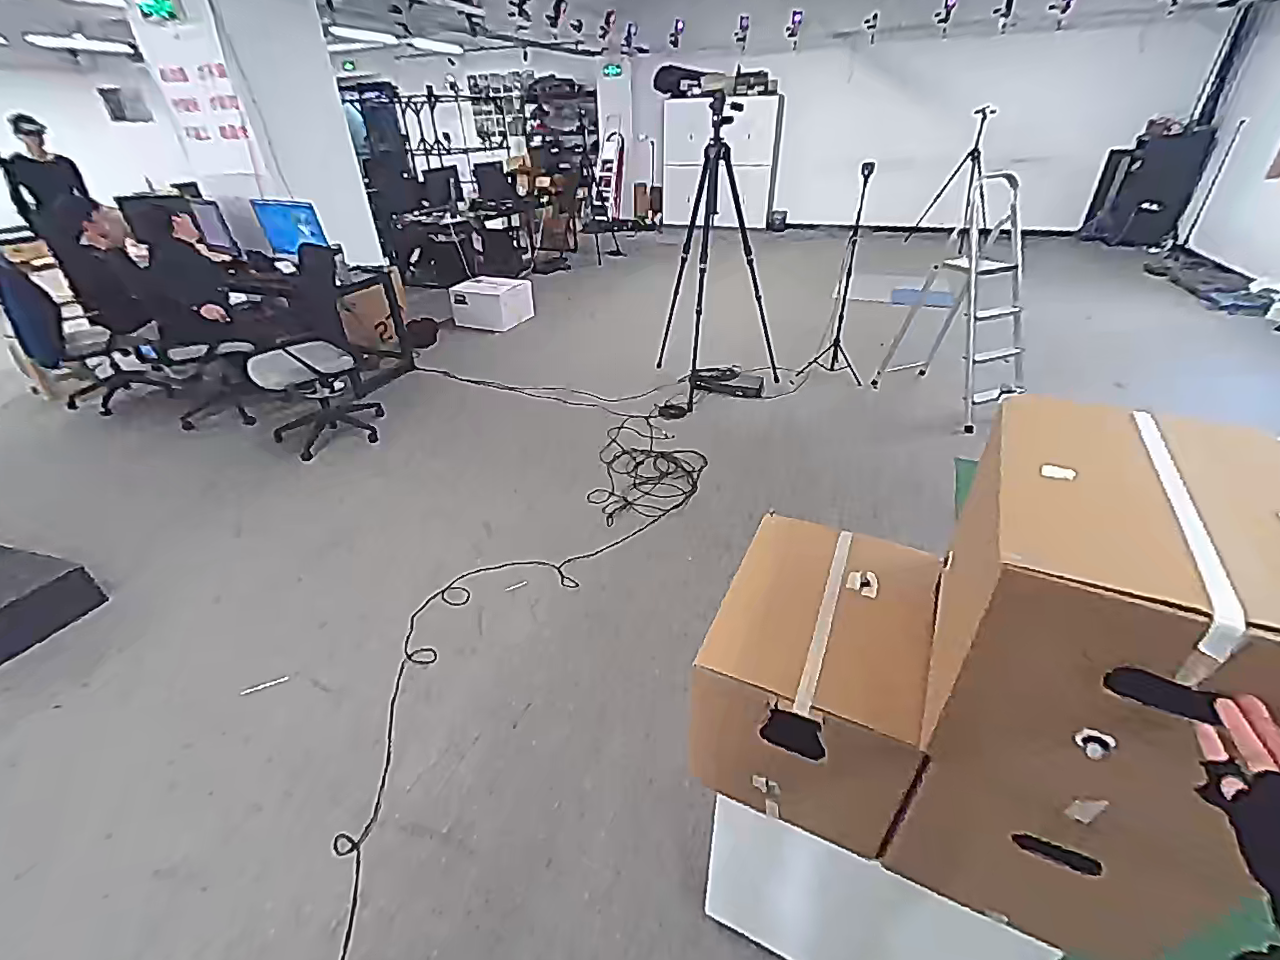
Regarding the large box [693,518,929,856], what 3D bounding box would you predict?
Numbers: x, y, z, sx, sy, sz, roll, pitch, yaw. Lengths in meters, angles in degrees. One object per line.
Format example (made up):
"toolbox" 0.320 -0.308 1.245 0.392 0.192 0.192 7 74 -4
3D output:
"large box" 0.300 0.328 0.949 0.320 0.320 0.408 13 35 22
